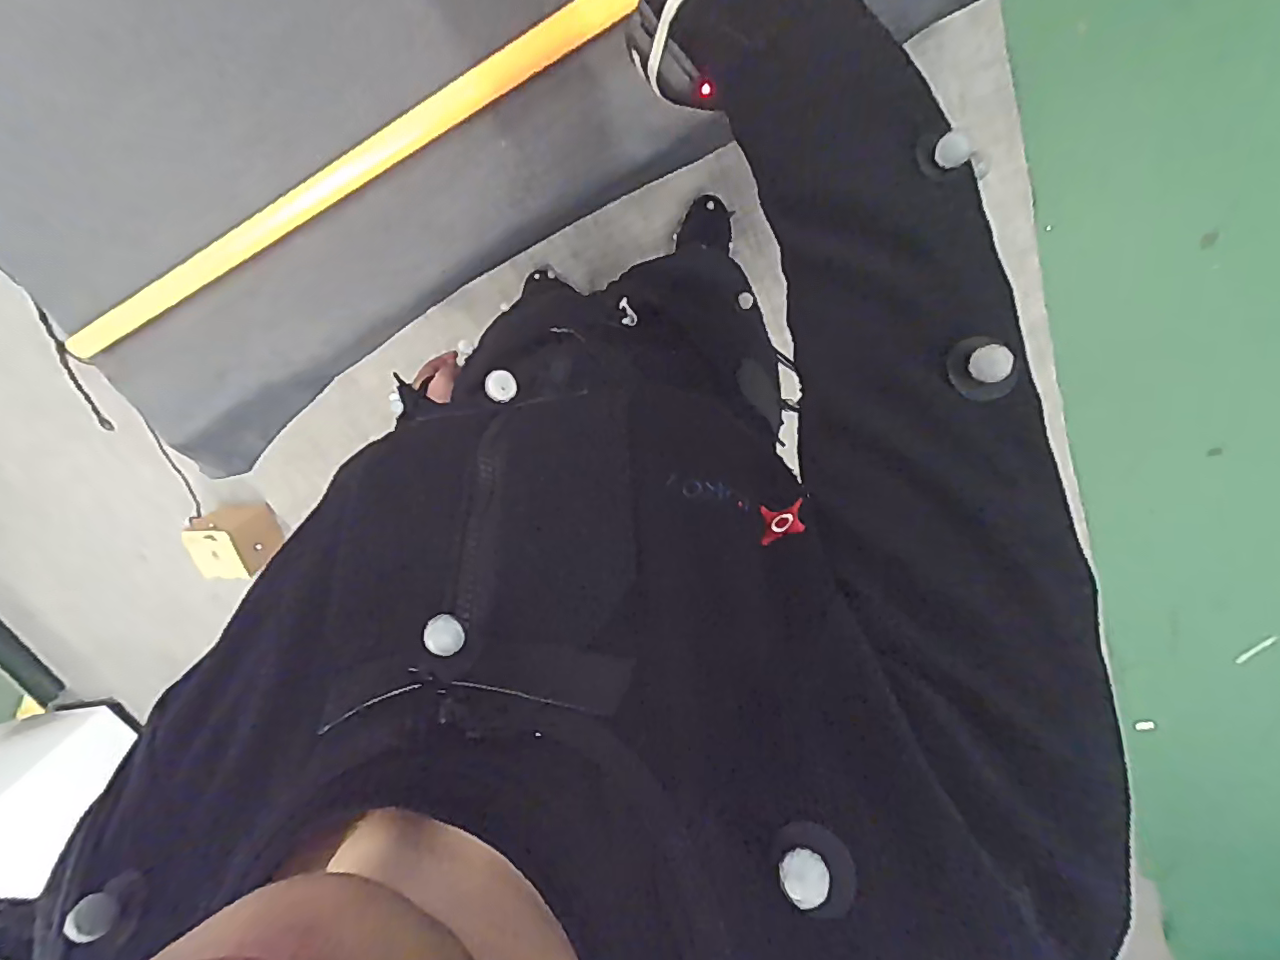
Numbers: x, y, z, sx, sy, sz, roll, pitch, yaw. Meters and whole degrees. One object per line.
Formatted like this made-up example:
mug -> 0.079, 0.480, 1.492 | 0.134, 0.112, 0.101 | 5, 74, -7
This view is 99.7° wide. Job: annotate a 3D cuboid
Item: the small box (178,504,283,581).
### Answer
small box -> -1.266, 0.194, 1.690 | 0.168, 0.176, 0.179 | 0, 119, 9
